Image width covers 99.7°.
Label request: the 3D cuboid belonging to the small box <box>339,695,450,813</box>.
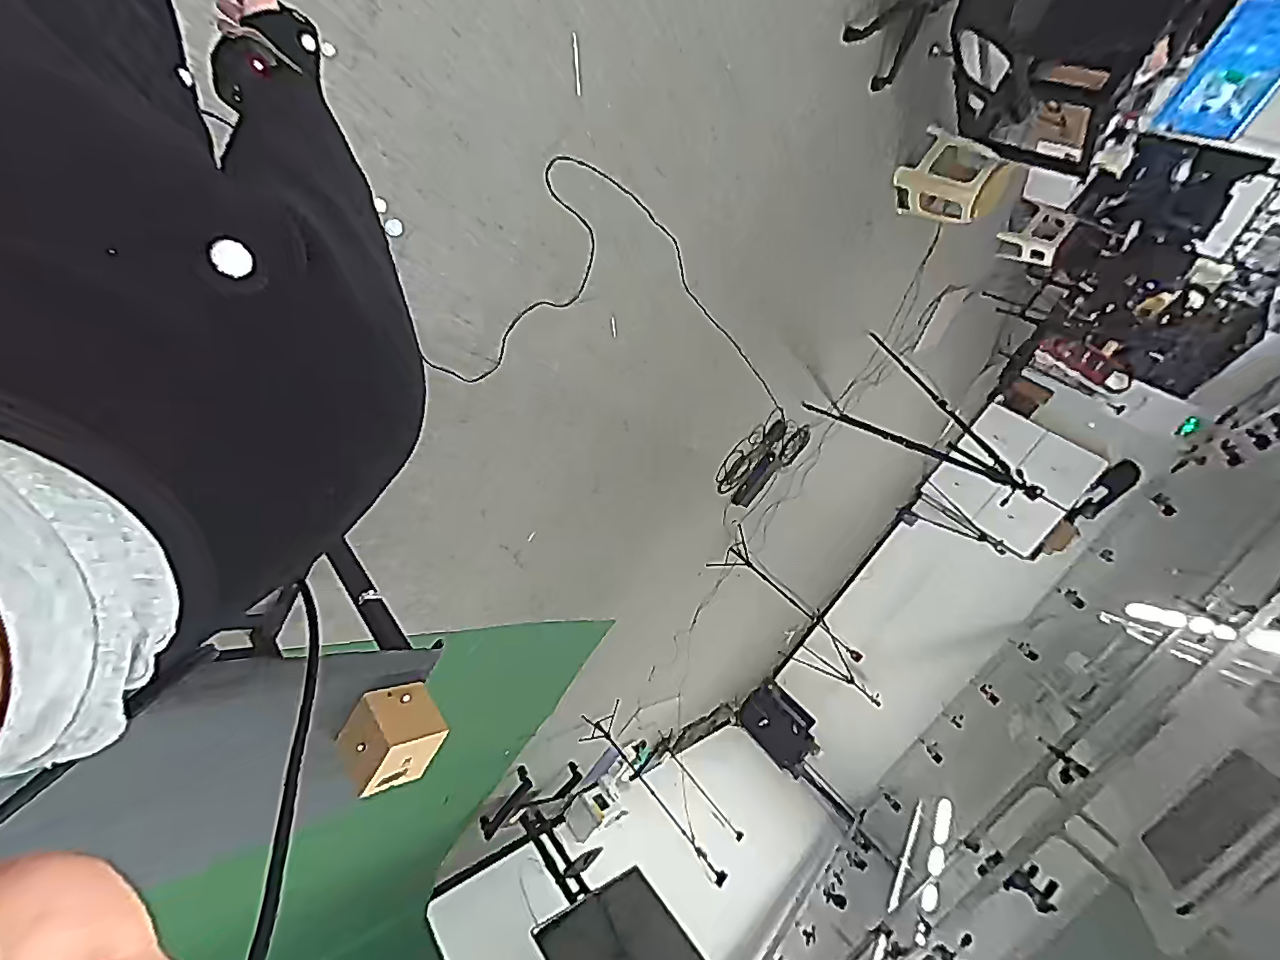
[{"bbox_3d":[-0.614,0.669,1.341,0.168,0.176,0.179,14,111,-56],"label":"small box"}]
